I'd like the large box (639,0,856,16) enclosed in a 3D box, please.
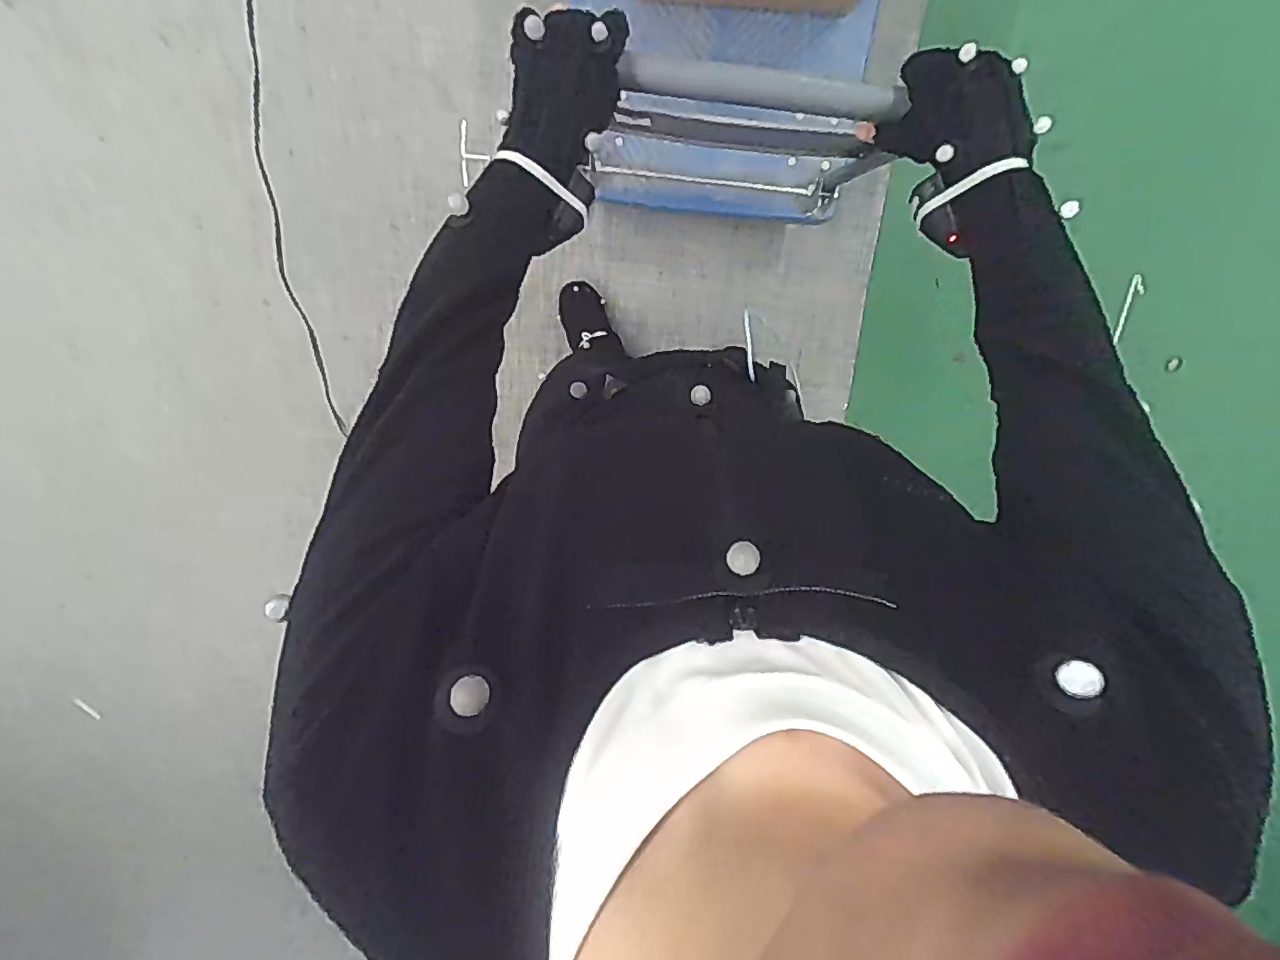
[{"bbox_3d":[0.200,-0.981,0.837,0.408,0.320,0.320,4,109,0],"label":"large box"}]
